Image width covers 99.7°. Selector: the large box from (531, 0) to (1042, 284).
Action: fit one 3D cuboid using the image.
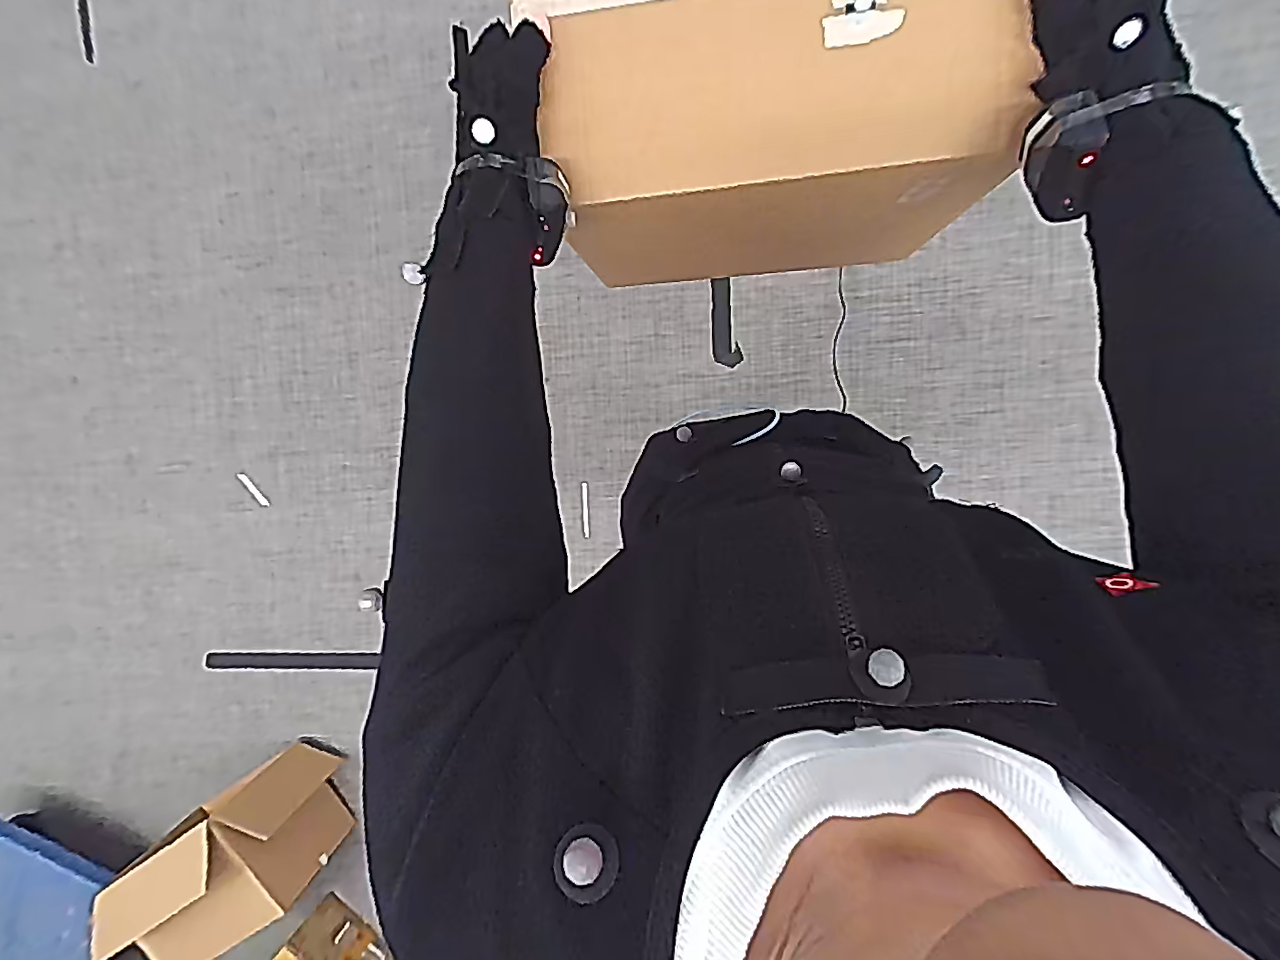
[{"bbox_3d":[0.120,-0.422,0.575,0.408,0.320,0.320,-3,97,7],"label":"large box"}]
